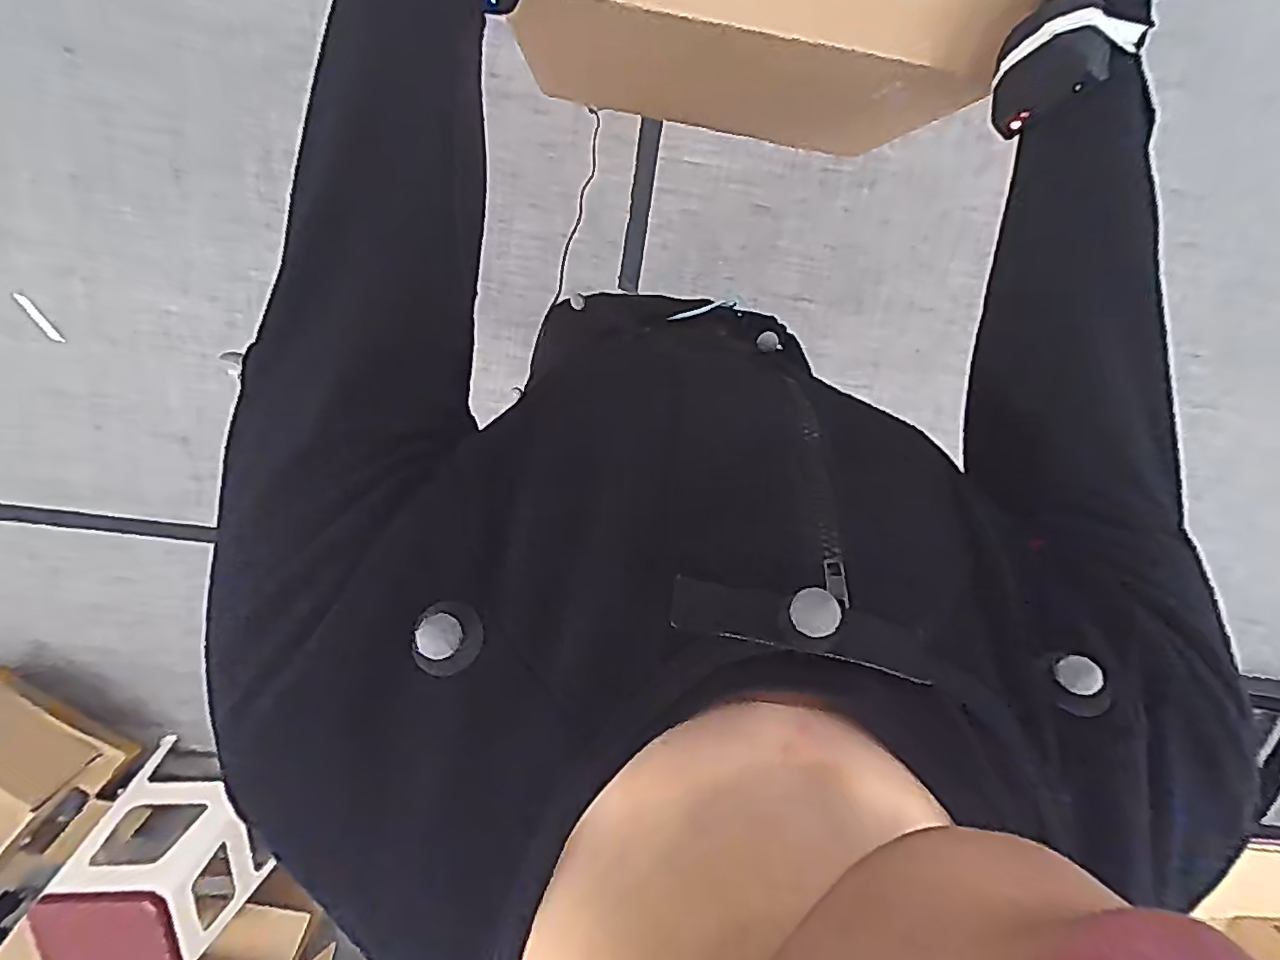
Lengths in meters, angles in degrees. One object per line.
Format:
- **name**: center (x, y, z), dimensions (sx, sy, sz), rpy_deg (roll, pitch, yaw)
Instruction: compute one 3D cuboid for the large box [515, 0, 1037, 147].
- **large box**: center (0.110, -0.532, 0.482), dimensions (0.408, 0.320, 0.320), rpy_deg (8, 113, -5)
